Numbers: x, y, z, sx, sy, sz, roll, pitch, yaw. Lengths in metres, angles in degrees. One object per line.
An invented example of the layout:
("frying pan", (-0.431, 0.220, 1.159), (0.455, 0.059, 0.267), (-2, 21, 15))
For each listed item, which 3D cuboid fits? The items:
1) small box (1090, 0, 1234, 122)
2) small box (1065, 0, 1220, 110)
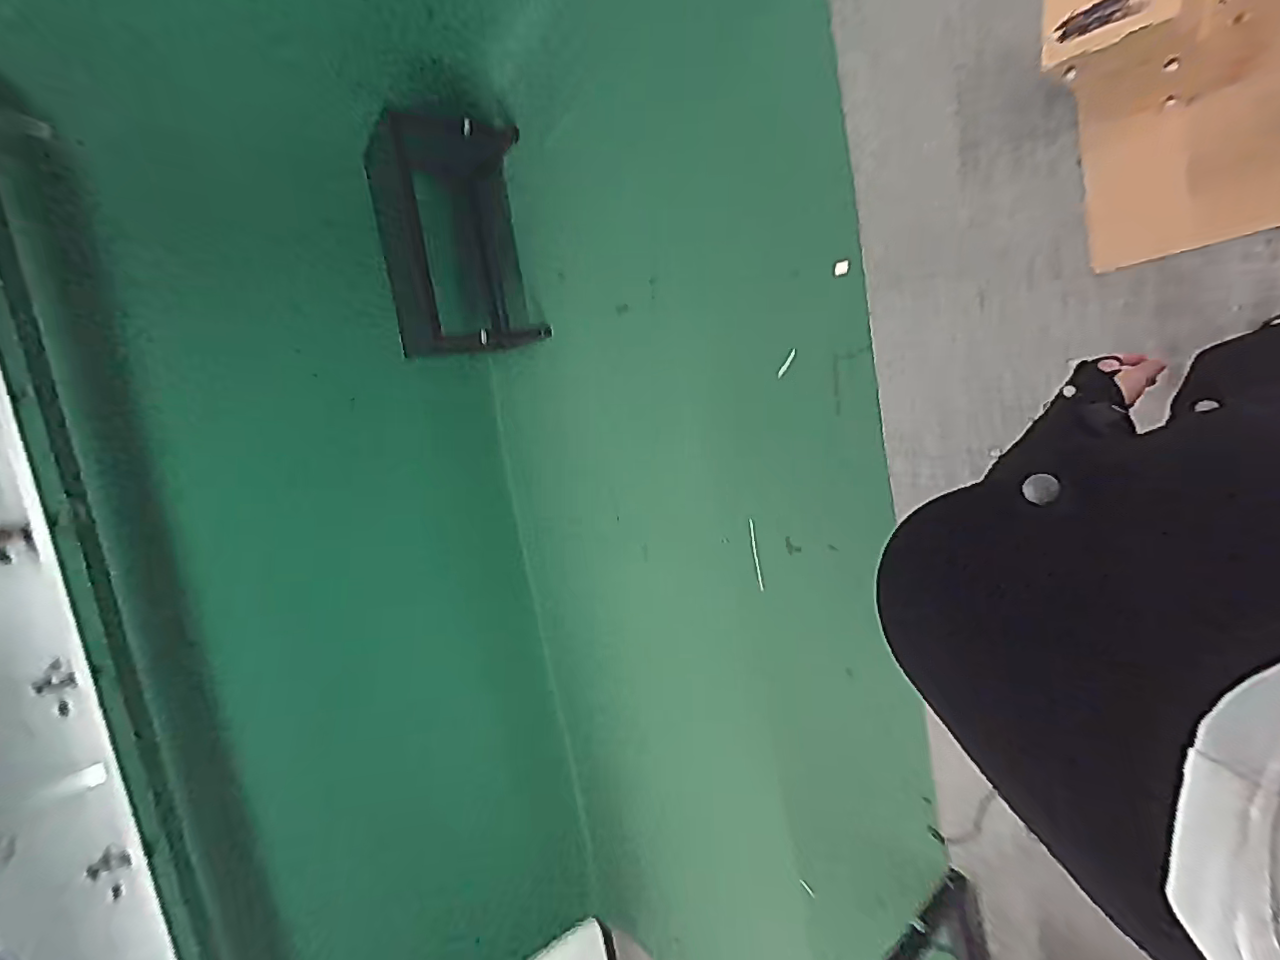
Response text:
("small box", (1.014, -0.831, 1.051), (0.179, 0.176, 0.168), (10, 109, 51))
("small box", (0.887, -0.790, 0.953), (0.179, 0.176, 0.168), (10, 109, 52))
